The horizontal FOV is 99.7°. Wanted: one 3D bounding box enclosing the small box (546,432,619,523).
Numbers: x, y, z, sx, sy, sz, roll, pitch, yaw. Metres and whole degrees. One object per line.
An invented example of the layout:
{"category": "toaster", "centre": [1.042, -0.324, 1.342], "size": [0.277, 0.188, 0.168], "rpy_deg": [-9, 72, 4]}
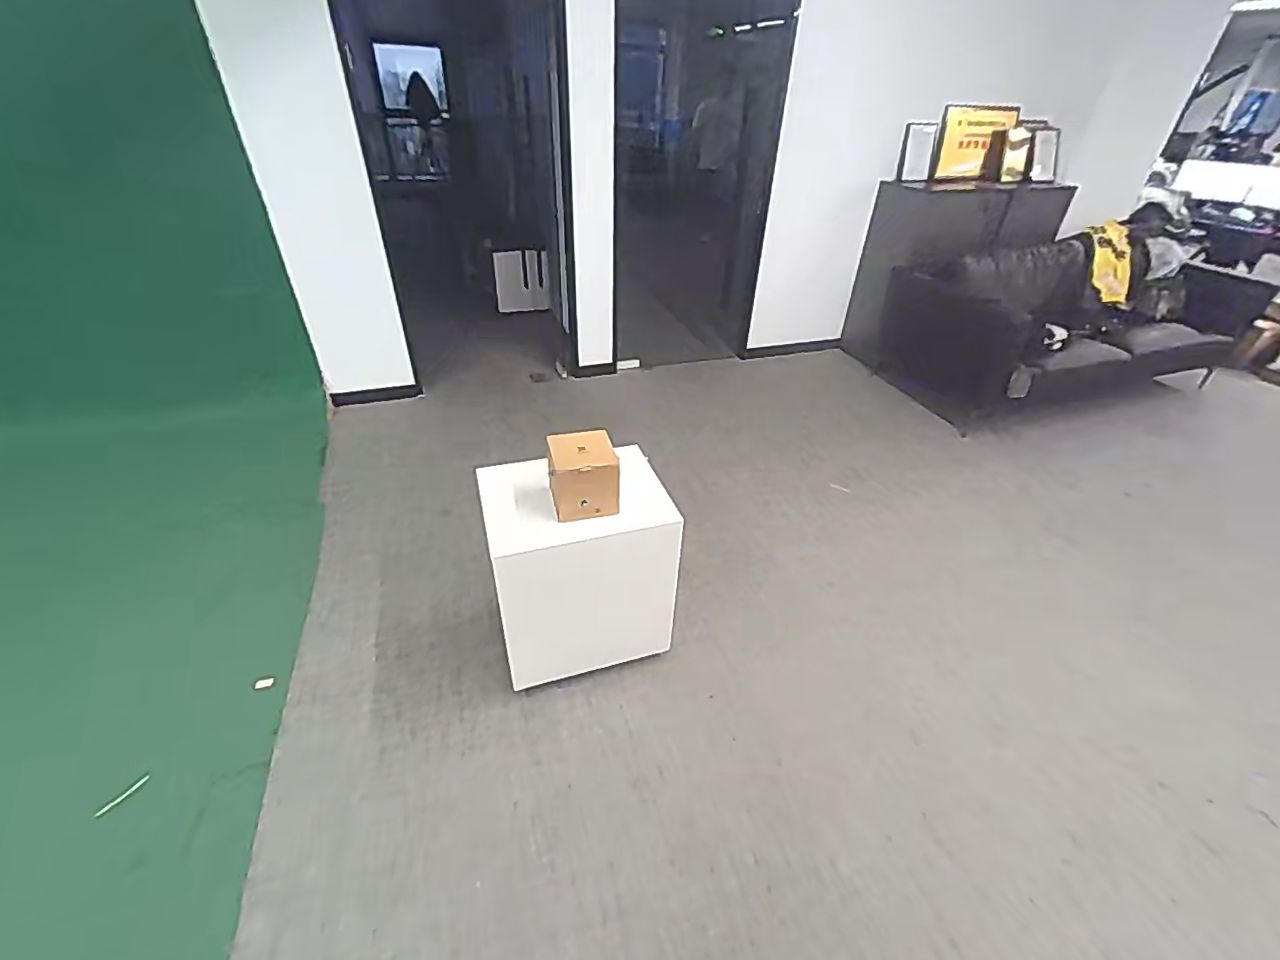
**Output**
{"category": "small box", "centre": [-0.158, -0.009, 1.447], "size": [0.168, 0.176, 0.179], "rpy_deg": [-8, 36, -14]}
